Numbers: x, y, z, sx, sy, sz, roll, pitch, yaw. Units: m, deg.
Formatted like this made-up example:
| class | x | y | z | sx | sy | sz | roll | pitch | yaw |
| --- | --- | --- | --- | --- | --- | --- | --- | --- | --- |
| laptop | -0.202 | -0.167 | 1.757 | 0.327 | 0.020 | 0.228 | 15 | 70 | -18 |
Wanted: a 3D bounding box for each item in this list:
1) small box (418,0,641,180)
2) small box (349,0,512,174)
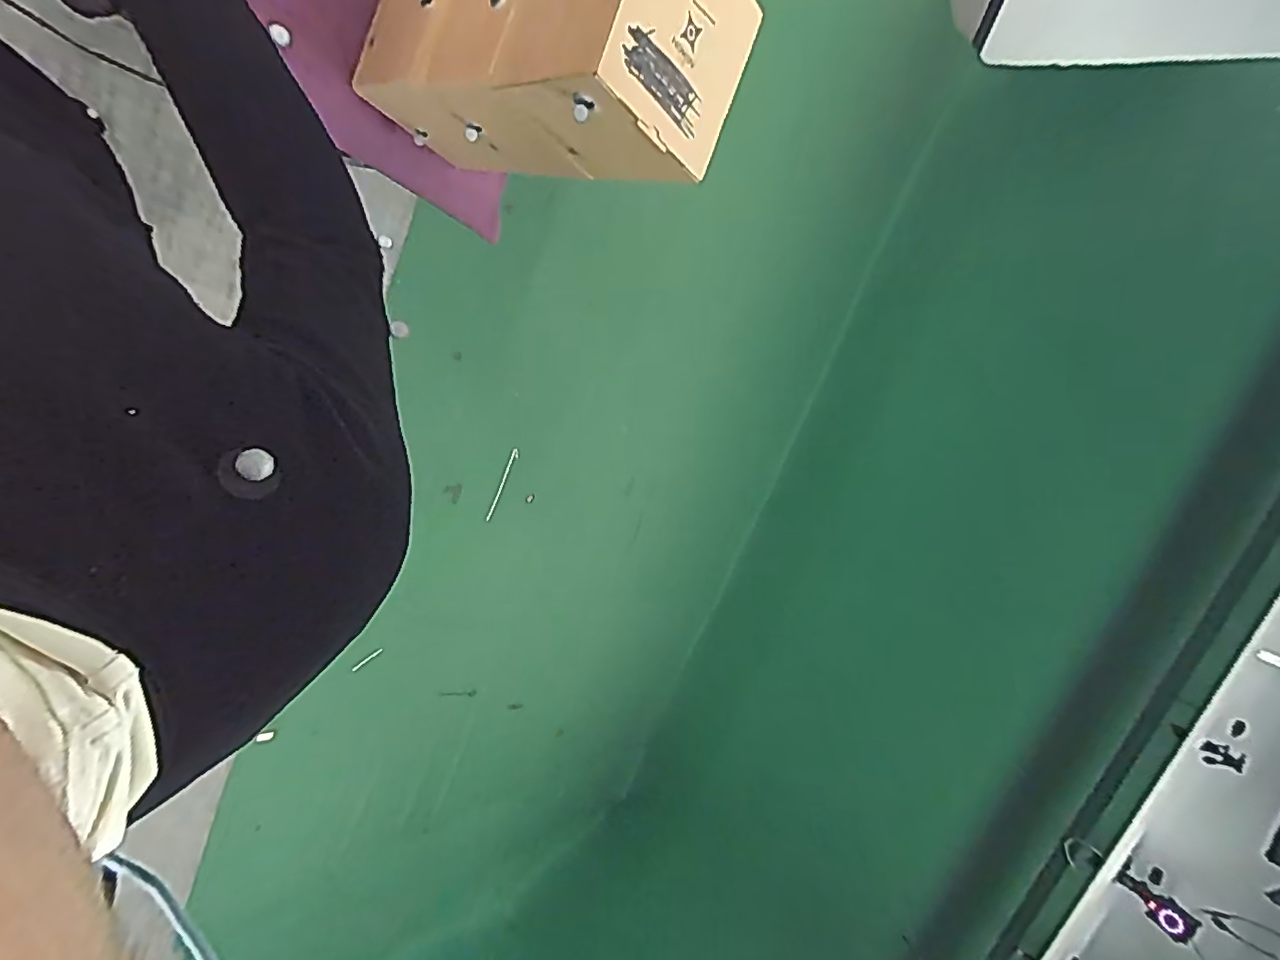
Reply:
| class | x | y | z | sx | sy | sz | roll | pitch | yaw |
| --- | --- | --- | --- | --- | --- | --- | --- | --- | --- |
| small box | -0.135 | -0.493 | 0.646 | 0.168 | 0.176 | 0.179 | 16 | 100 | -53 |
| small box | -0.256 | -0.553 | 0.739 | 0.179 | 0.176 | 0.168 | 16 | 99 | -54 |
